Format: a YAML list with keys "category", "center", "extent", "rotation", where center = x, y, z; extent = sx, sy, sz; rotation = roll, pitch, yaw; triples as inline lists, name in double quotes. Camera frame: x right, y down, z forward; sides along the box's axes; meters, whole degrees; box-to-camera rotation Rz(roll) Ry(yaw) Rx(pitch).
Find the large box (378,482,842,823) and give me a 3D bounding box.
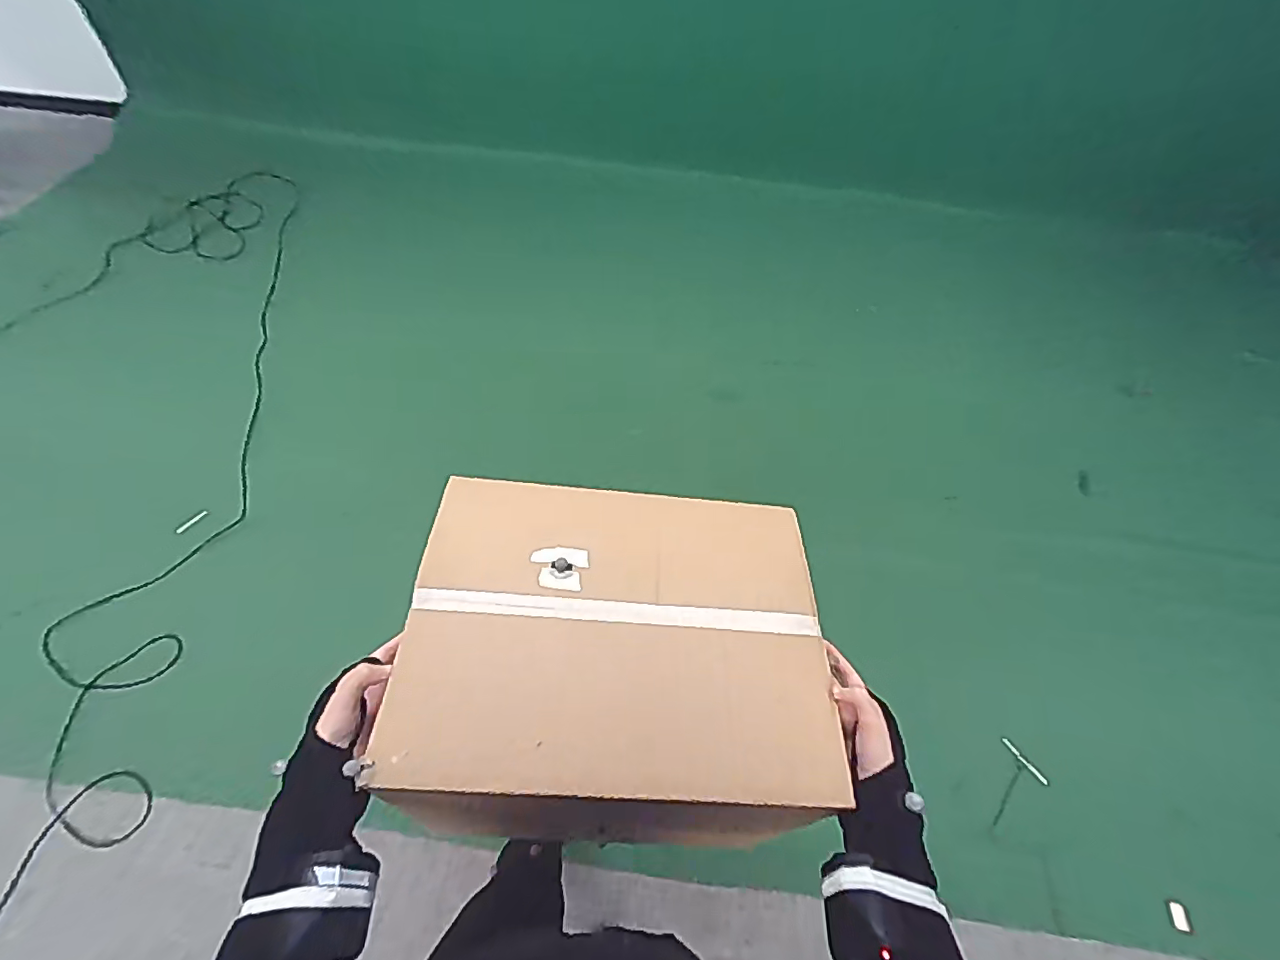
- category: "large box"
  center: [-0.031, 0.226, 0.664]
  extent: [0.408, 0.320, 0.320]
  rotation: [5, 51, -4]
